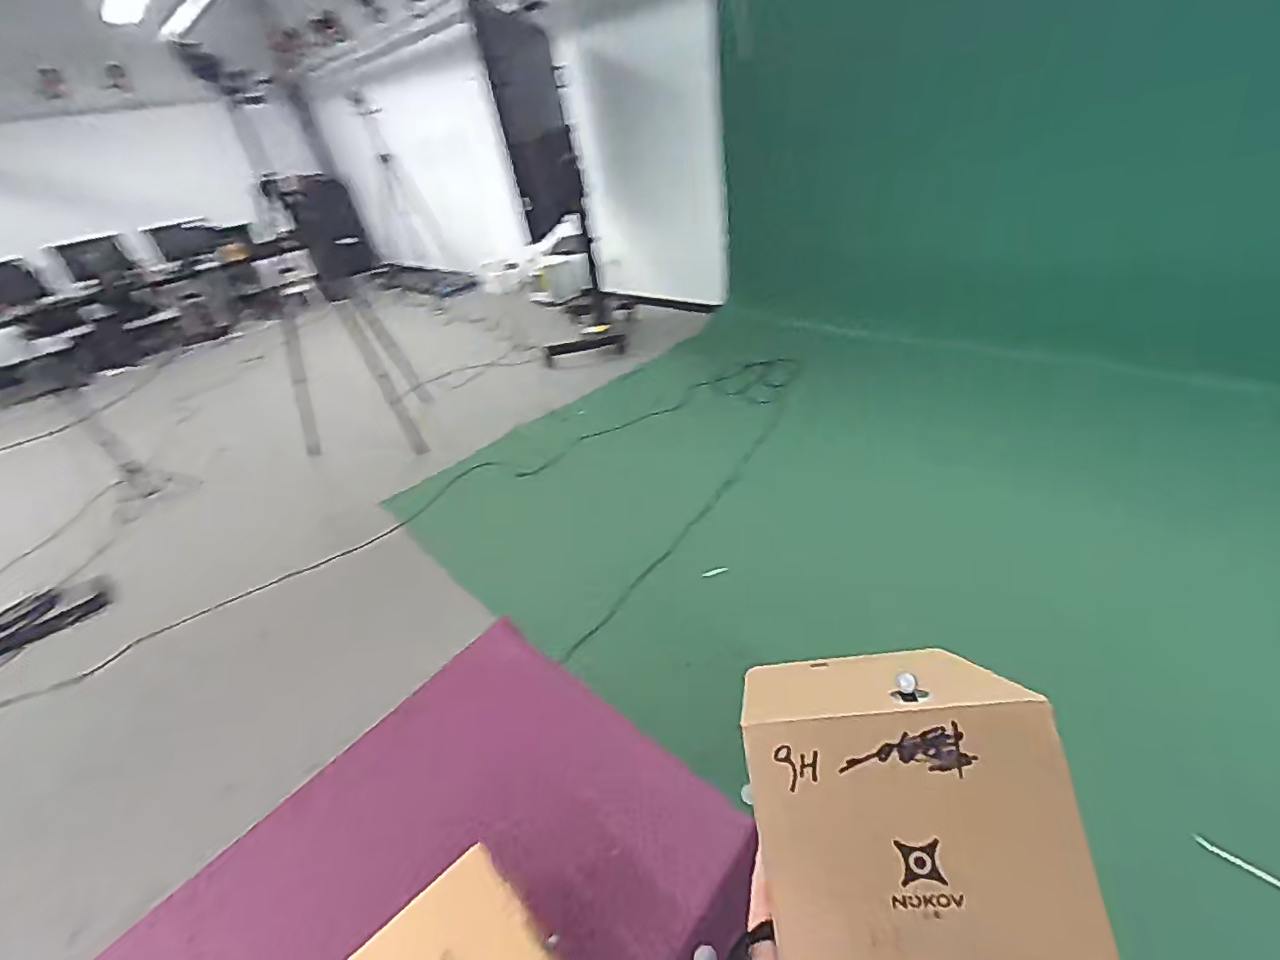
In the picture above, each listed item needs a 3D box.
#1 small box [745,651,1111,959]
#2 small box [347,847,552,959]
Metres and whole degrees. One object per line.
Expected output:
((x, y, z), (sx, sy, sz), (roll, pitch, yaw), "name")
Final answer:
((0.168, 0.226, 0.365), (0.168, 0.179, 0.176), (-9, -9, 12), "small box")
((-0.187, 0.550, 0.566), (0.179, 0.176, 0.168), (-33, 40, -30), "small box")
